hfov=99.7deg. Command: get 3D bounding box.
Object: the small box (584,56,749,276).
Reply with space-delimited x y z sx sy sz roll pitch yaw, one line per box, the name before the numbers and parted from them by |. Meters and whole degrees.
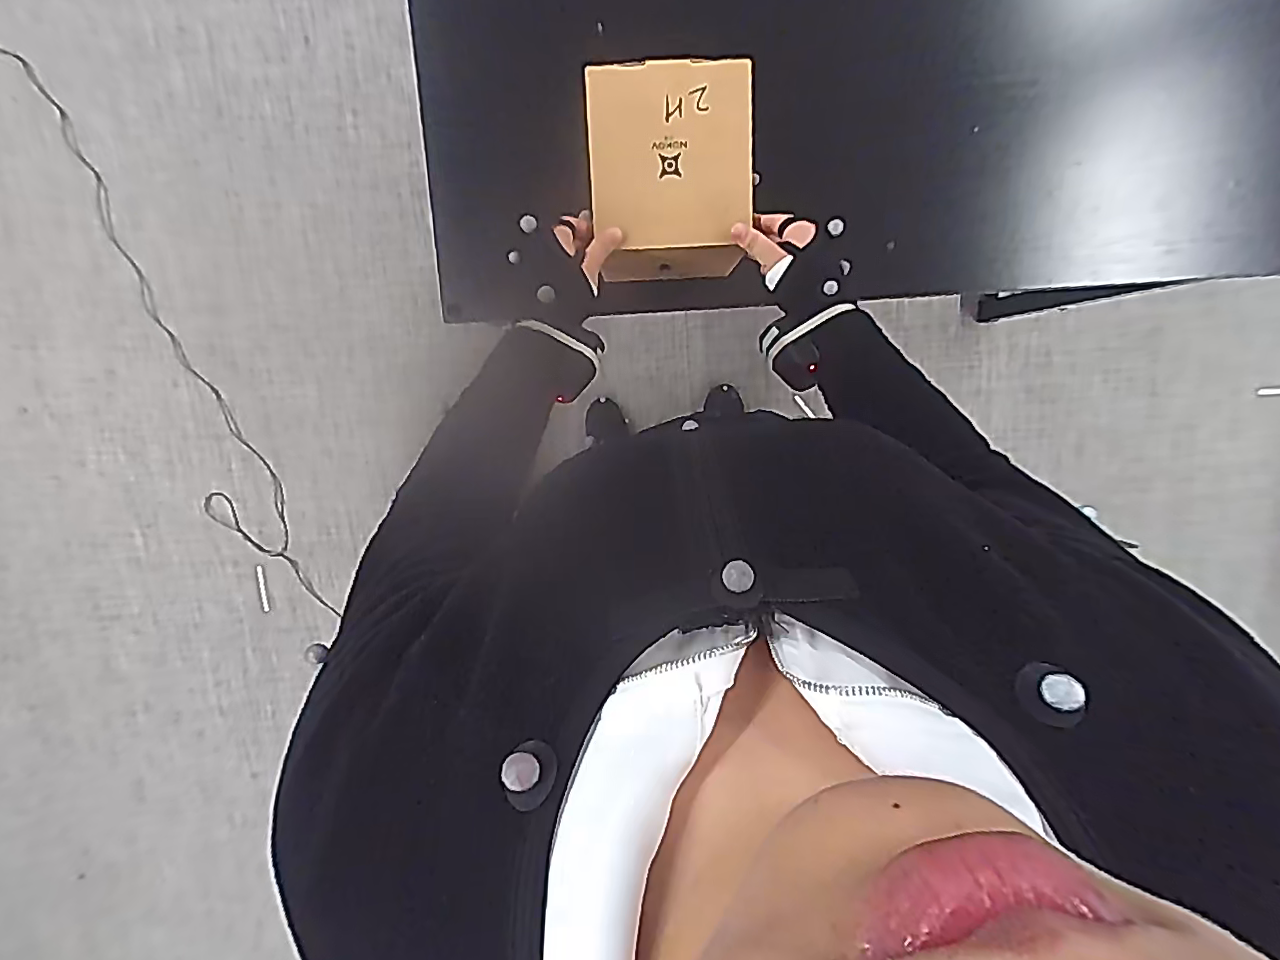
small box | 0.030 -0.340 0.624 0.168 0.176 0.179 -3 99 1
